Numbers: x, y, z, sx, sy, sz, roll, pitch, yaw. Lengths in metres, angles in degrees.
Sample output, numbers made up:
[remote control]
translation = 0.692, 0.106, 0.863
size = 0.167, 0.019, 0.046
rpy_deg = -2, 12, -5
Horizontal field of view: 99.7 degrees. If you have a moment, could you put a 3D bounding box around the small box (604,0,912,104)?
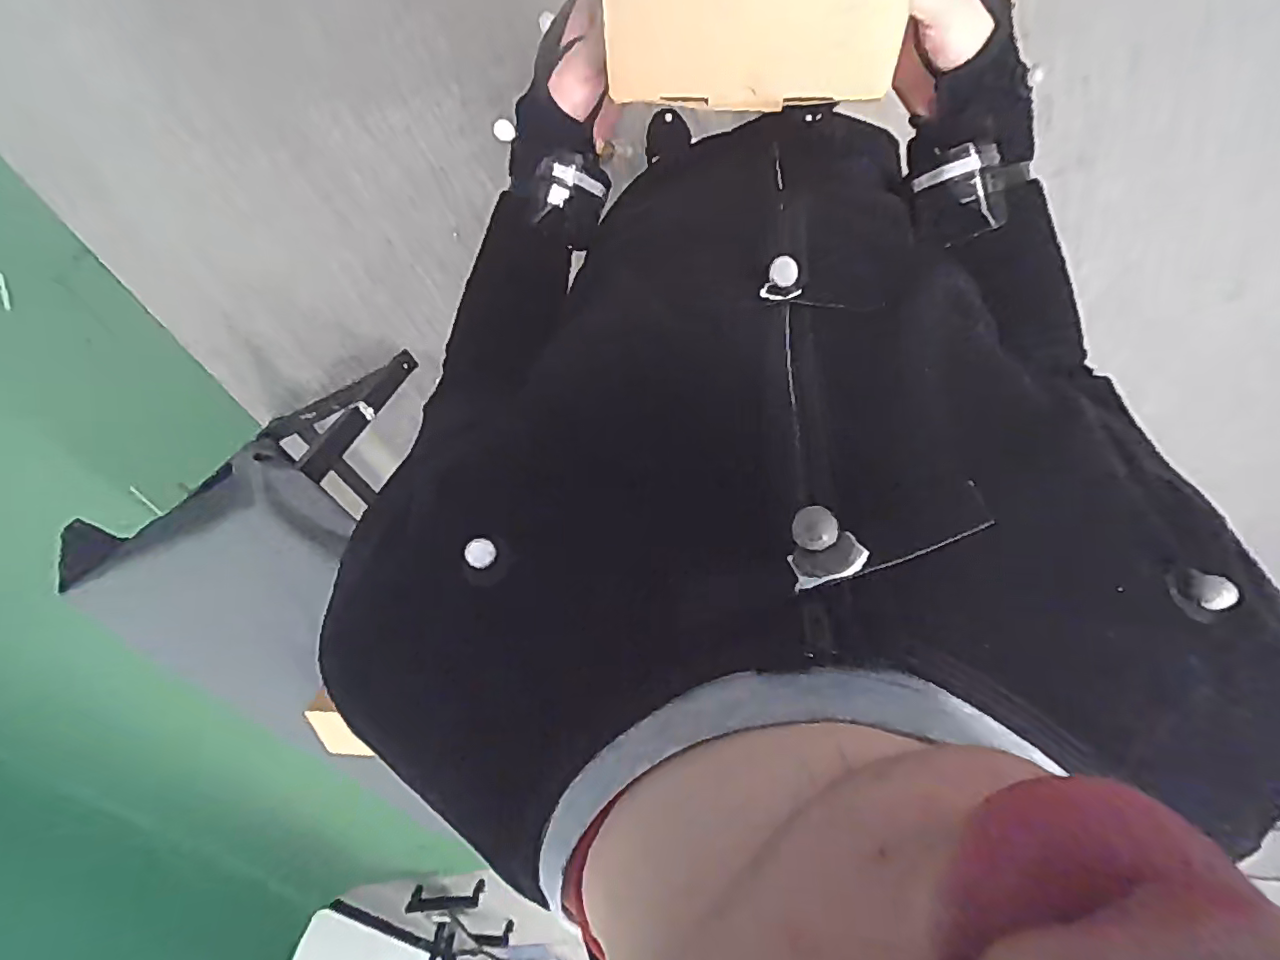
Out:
[small box]
translation = 0.069, -0.343, 0.308
size = 0.168, 0.176, 0.179
rpy_deg = 3, 139, 5
